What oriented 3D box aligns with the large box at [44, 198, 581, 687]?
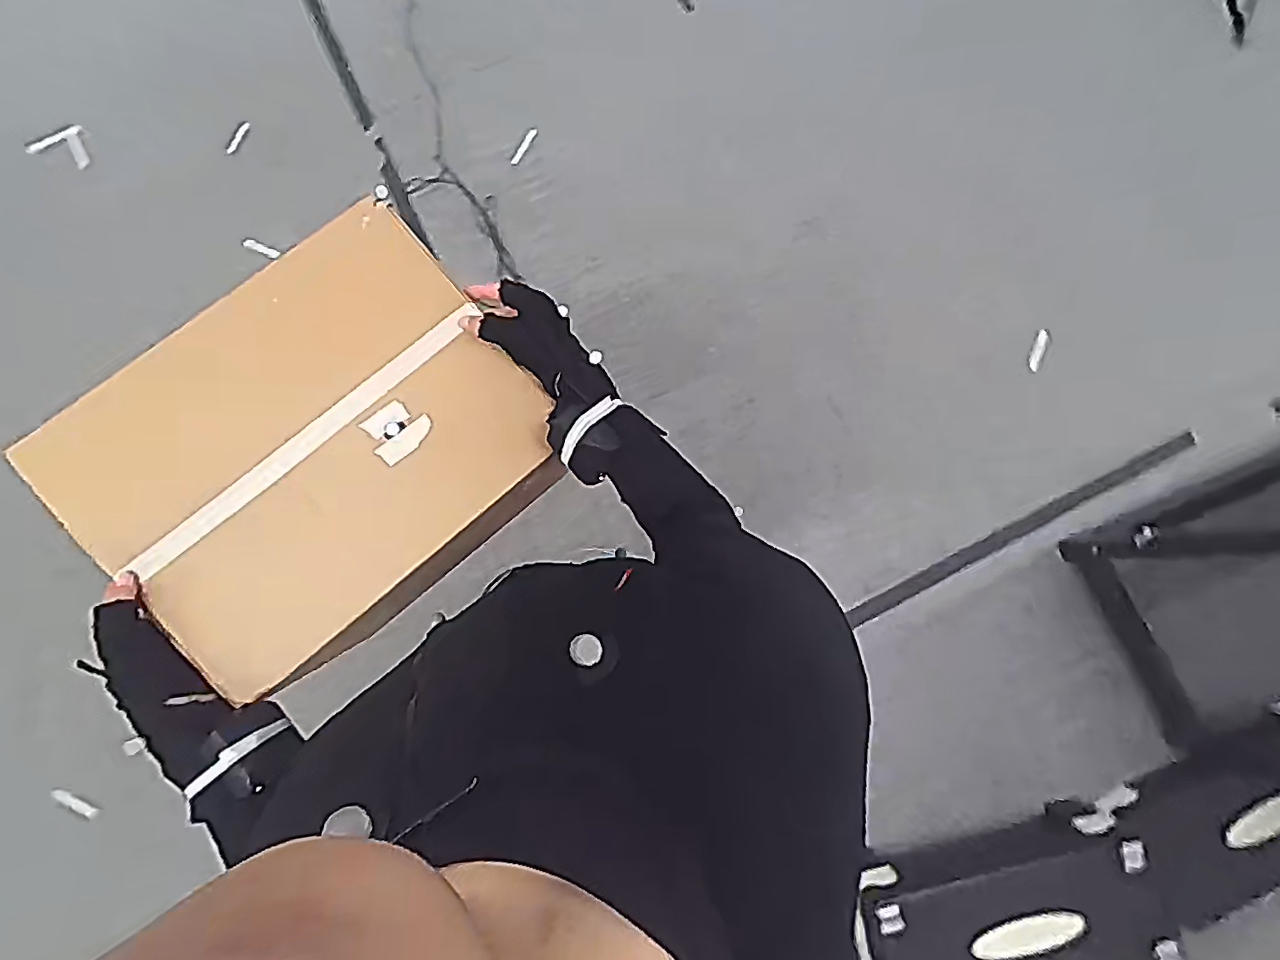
[{"bbox_3d":[-0.323,-0.034,0.671,0.408,0.320,0.320,-40,92,-9],"label":"large box"}]
